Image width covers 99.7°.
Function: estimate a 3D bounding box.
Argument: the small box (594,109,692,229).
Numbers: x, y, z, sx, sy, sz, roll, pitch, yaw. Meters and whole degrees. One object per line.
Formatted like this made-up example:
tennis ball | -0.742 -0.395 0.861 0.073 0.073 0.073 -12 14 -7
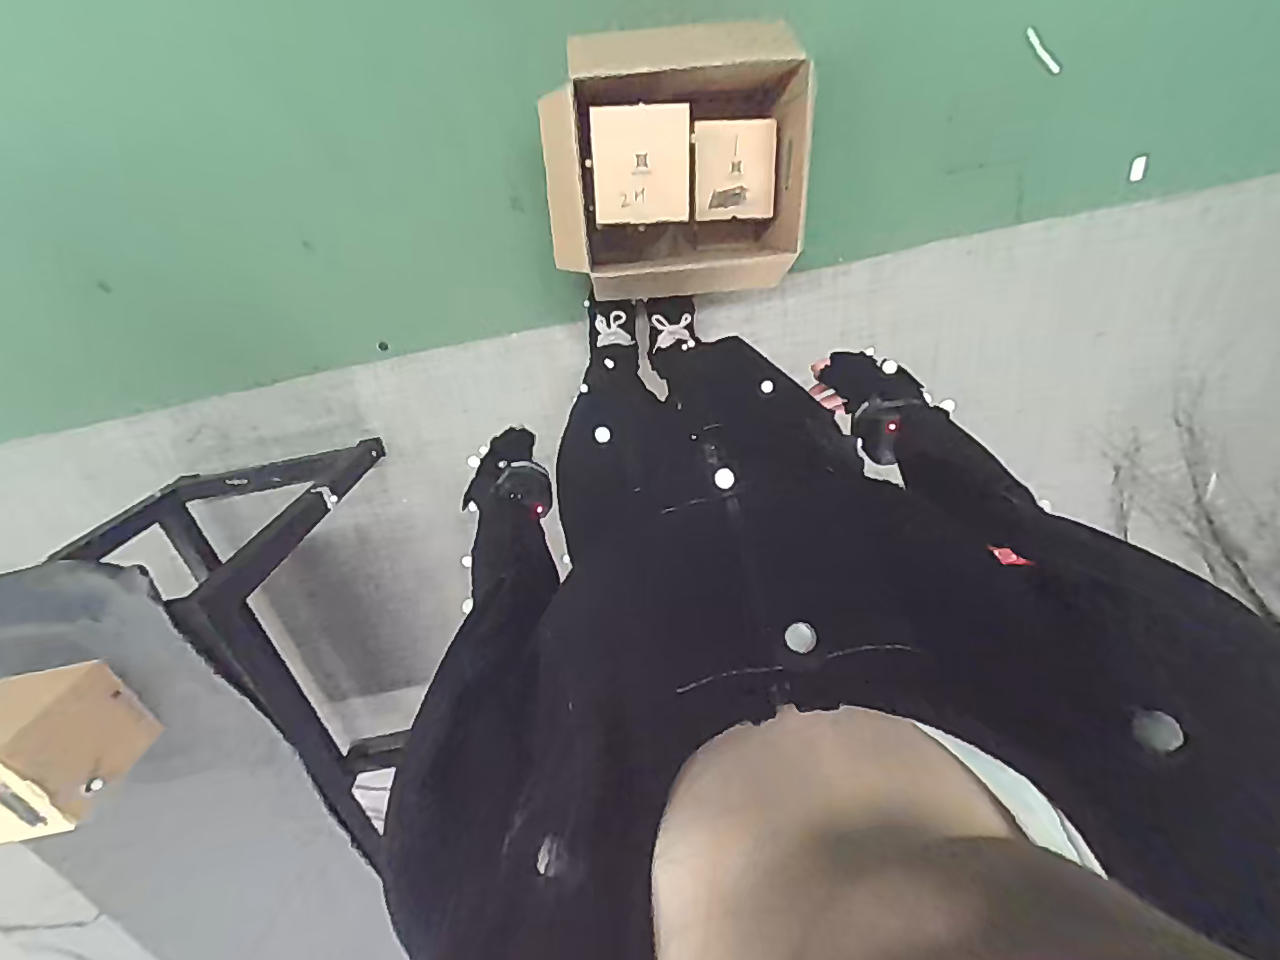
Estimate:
small box | 0.004 -0.560 0.993 0.168 0.176 0.179 -2 115 0
